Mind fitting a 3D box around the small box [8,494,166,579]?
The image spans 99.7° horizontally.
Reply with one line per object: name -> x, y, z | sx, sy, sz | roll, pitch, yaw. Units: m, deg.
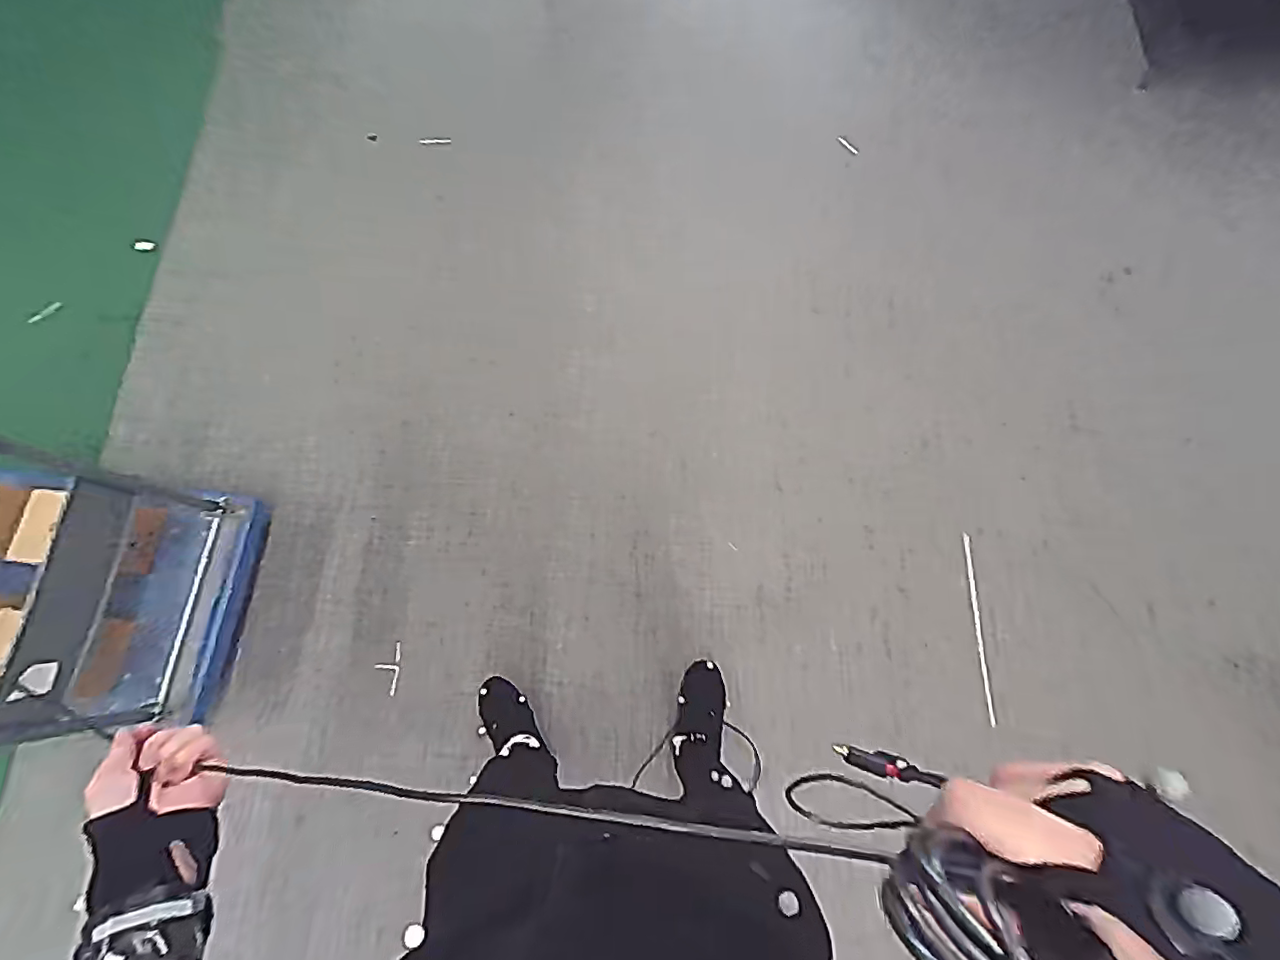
small box -> -1.310, 0.141, 1.295 | 0.179, 0.176, 0.168 | 7, 75, 3

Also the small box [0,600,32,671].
small box -> -1.589, 0.358, 1.245 | 0.179, 0.176, 0.168 | 2, 74, 3
